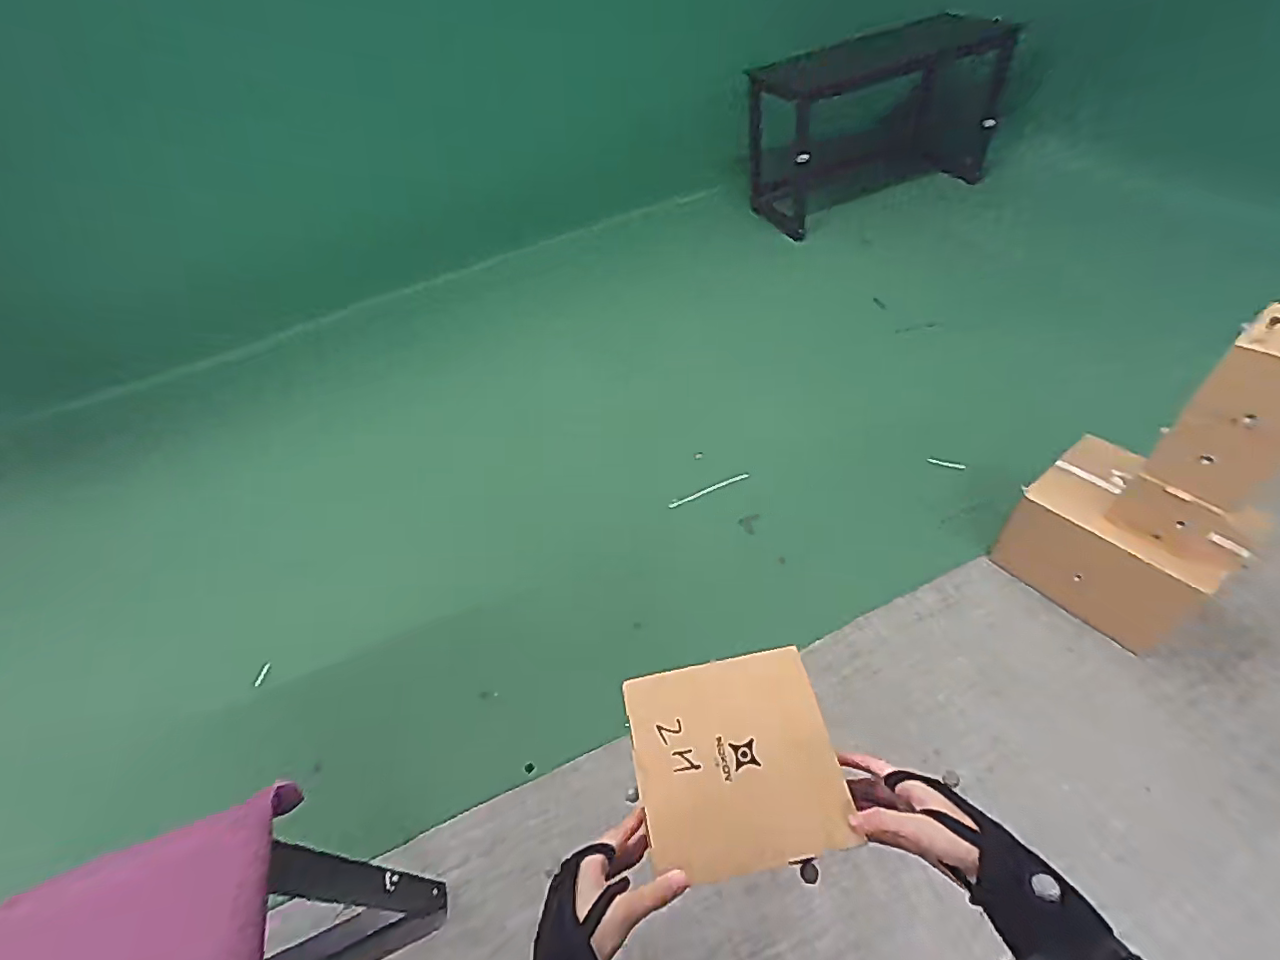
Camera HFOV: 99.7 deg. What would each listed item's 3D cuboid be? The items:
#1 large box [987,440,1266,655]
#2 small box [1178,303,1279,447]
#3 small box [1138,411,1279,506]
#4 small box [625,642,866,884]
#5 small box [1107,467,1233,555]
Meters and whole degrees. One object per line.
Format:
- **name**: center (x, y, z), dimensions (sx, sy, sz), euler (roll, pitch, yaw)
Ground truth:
- **large box**: center (1.237, 0.170, 1.426), dimensions (0.320, 0.320, 0.408), euler (-33, 48, -18)
- **small box**: center (1.159, -0.184, 0.981), dimensions (0.168, 0.176, 0.179), euler (-33, 51, -17)
- **small box**: center (1.186, -0.072, 1.098), dimensions (0.168, 0.176, 0.179), euler (-34, 50, -17)
- **small box**: center (0.086, 0.280, 0.534), dimensions (0.179, 0.176, 0.168), euler (-10, 53, -4)
- **small box**: center (1.210, 0.037, 1.219), dimensions (0.179, 0.176, 0.168), euler (-33, 50, -17)
